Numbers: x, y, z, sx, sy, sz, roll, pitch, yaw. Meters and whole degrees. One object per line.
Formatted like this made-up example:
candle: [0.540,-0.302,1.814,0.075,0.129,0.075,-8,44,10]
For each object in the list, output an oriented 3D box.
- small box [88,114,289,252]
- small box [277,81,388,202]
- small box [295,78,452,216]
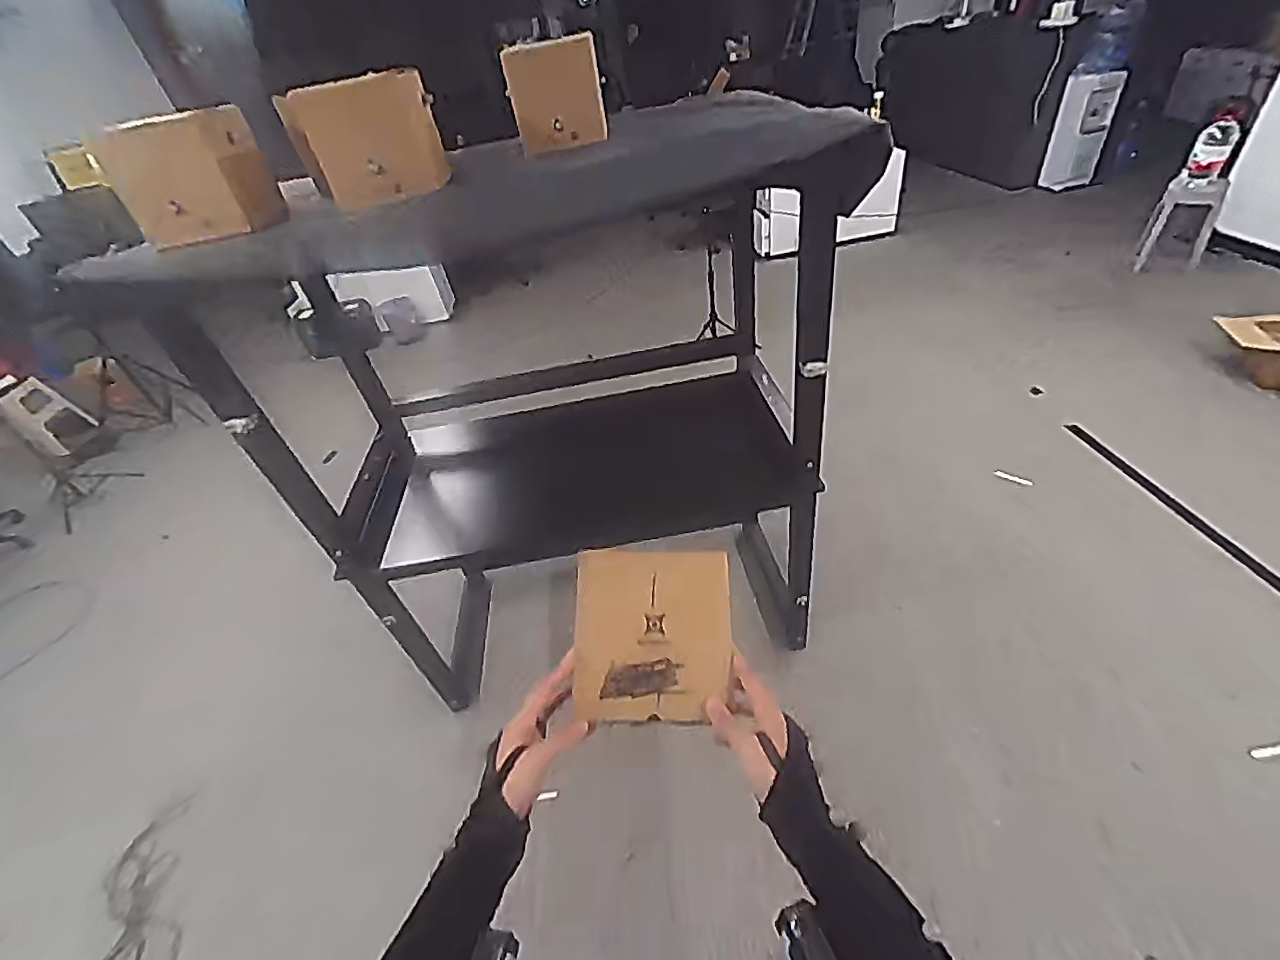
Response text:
small box: [-0.733,-0.499,0.908,0.168,0.176,0.179,-12,39,-2]
small box: [-0.570,-0.679,1.085,0.179,0.176,0.168,-12,40,-2]
small box: [-0.434,-0.565,0.919,0.168,0.176,0.179,-11,39,-1]
